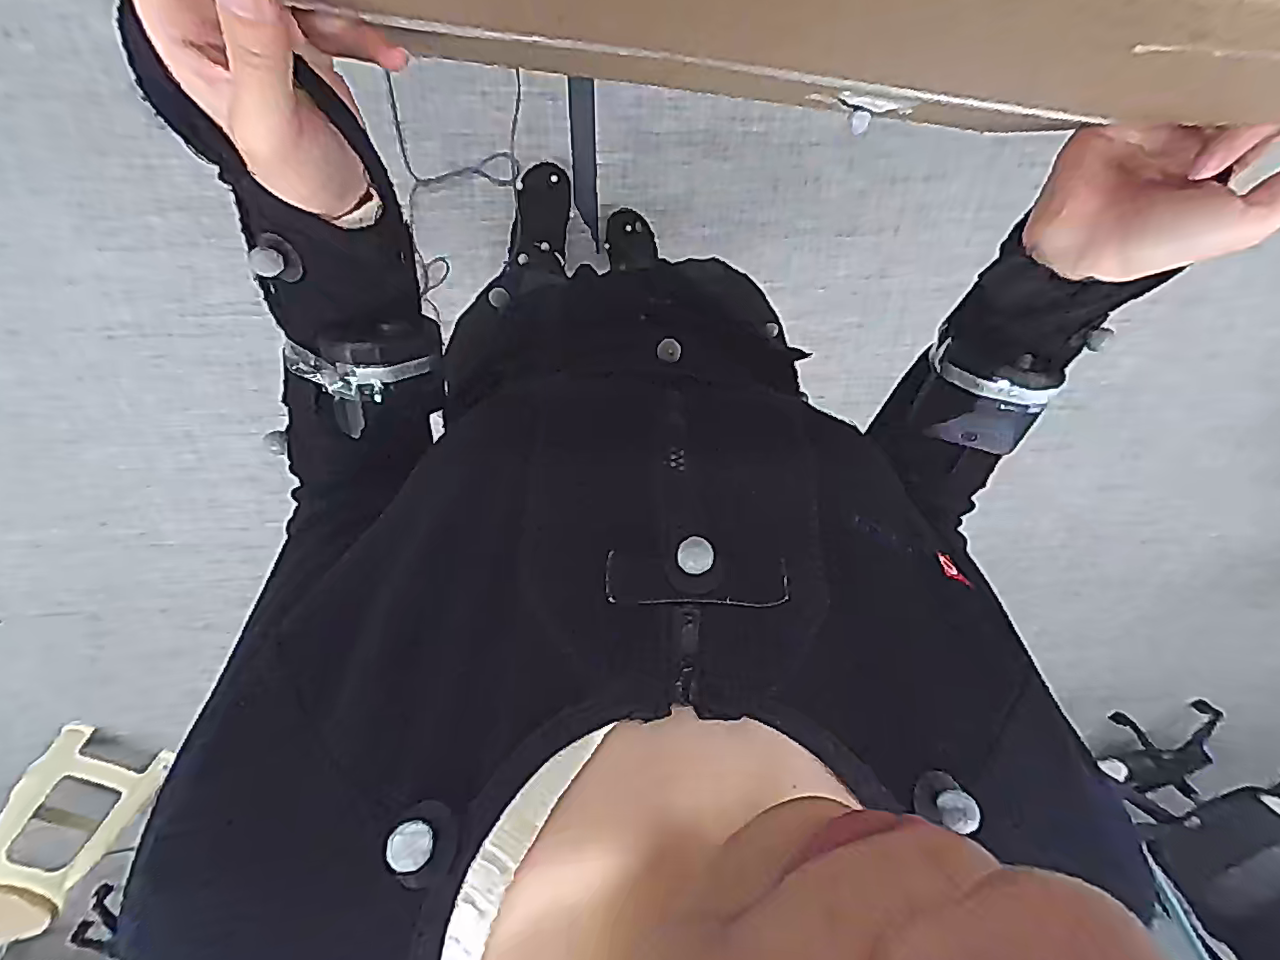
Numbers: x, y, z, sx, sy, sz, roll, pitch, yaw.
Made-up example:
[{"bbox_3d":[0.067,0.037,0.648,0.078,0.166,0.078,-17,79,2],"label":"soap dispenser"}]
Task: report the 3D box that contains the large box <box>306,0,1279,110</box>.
[{"bbox_3d":[0.066,-0.313,0.141,0.408,0.320,0.320,1,122,-7],"label":"large box"}]
